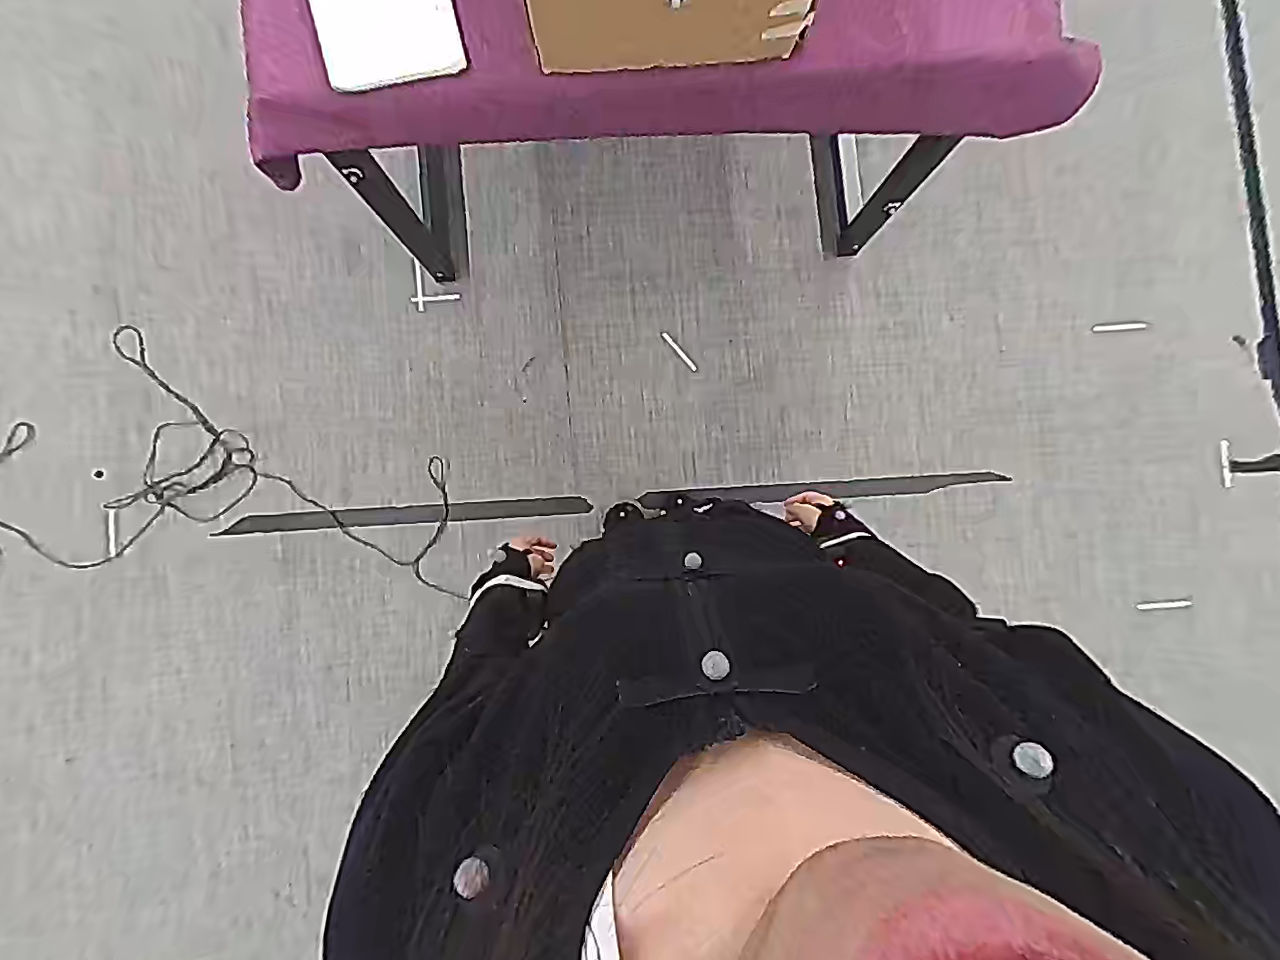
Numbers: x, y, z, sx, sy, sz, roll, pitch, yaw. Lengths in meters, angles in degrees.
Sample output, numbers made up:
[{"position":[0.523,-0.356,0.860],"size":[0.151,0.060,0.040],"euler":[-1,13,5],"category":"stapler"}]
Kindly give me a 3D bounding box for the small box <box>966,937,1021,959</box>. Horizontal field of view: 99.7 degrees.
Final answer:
[{"position":[0.865,1.226,1.247],"size":[0.179,0.176,0.168],"euler":[-41,90,0],"category":"small box"}]
